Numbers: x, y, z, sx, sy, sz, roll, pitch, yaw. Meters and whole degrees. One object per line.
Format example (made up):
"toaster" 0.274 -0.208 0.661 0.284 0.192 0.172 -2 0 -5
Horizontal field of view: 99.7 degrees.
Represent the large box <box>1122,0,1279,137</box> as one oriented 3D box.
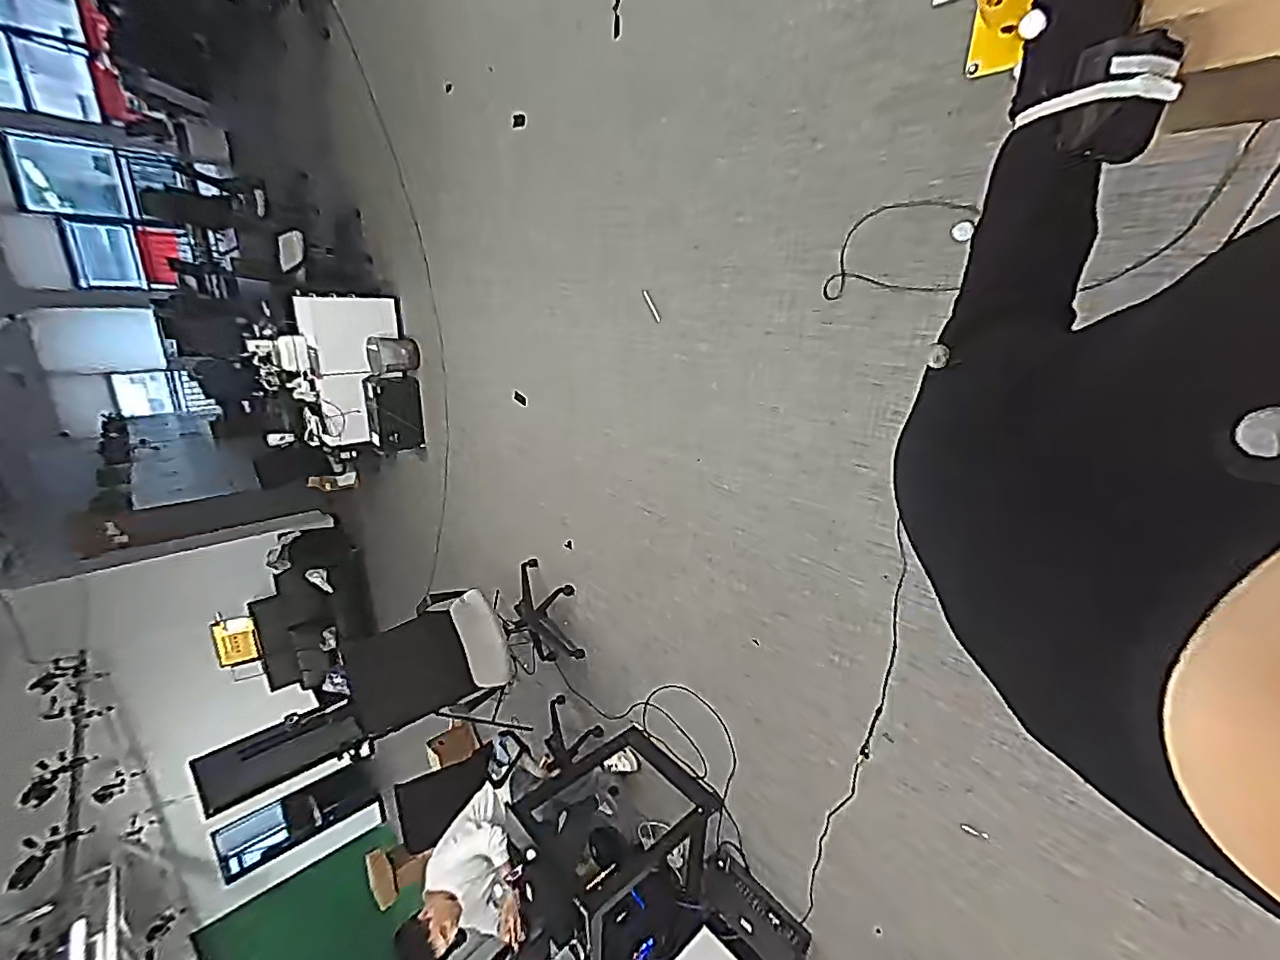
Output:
"large box" 0.570 -0.416 0.288 0.408 0.320 0.320 18 120 42
